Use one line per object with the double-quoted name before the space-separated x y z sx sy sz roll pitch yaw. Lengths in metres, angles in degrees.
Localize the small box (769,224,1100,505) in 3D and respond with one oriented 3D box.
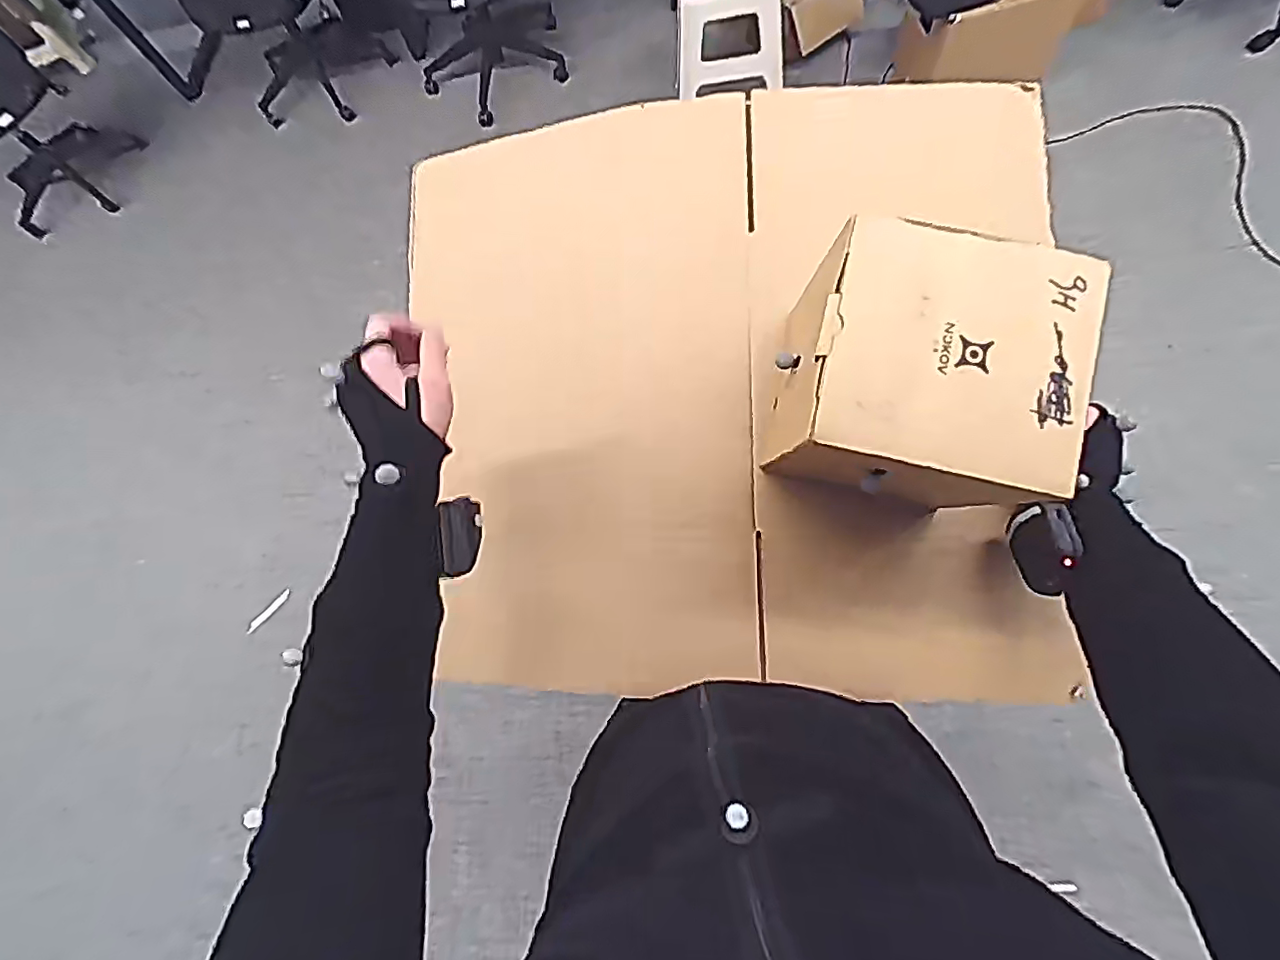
"small box" 0.217 -0.077 0.449 0.179 0.176 0.168 13 86 4
